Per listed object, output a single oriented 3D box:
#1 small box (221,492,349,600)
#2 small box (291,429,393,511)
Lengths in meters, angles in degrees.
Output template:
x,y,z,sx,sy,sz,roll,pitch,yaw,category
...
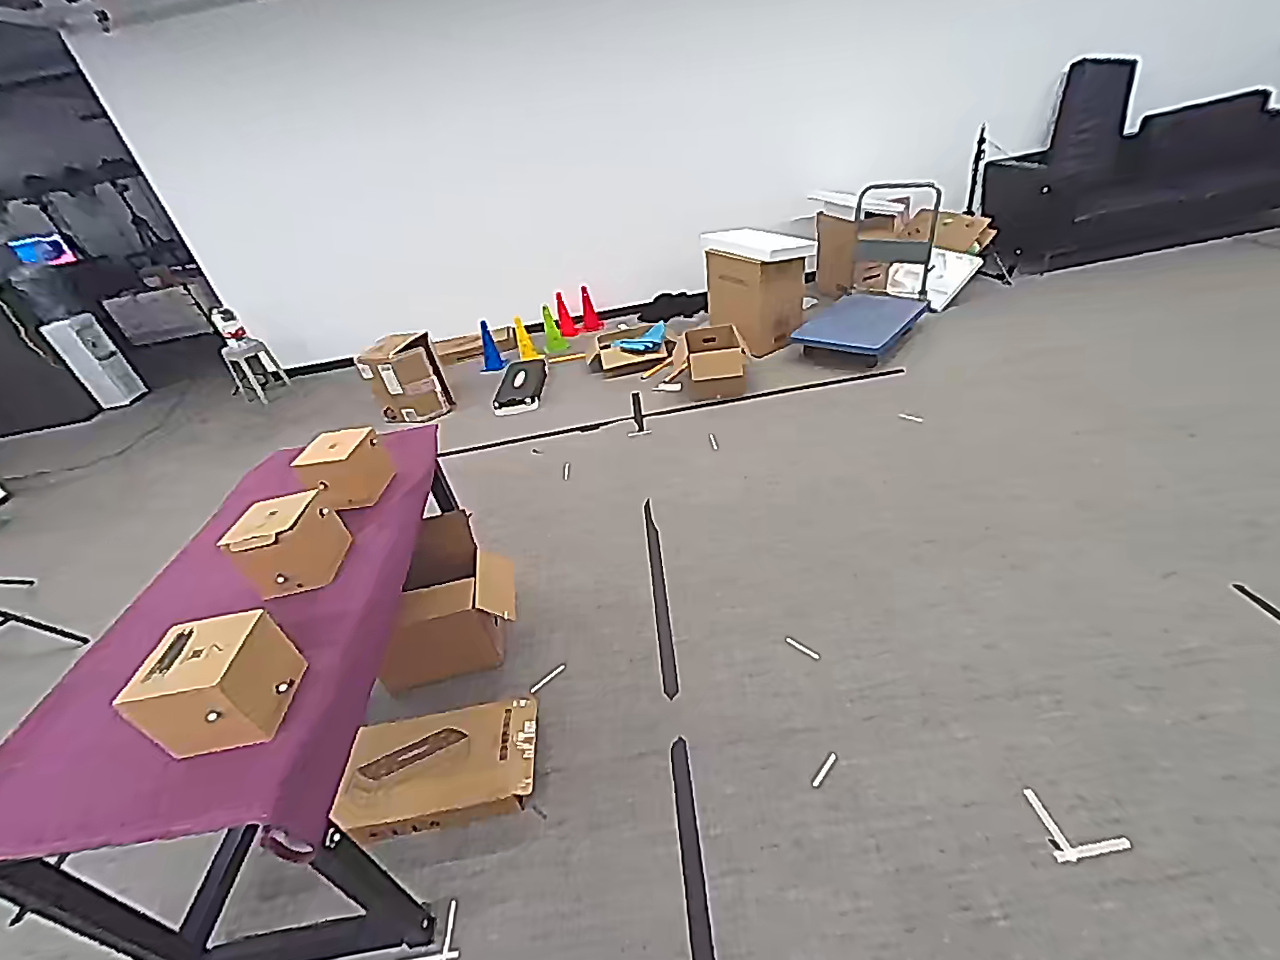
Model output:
x,y,z,sx,sy,sz,roll,pitch,yaw,category
-0.834,0.157,1.296,0.168,0.176,0.179,-13,34,1,small box
-0.846,-0.022,1.559,0.168,0.176,0.179,-7,34,6,small box
